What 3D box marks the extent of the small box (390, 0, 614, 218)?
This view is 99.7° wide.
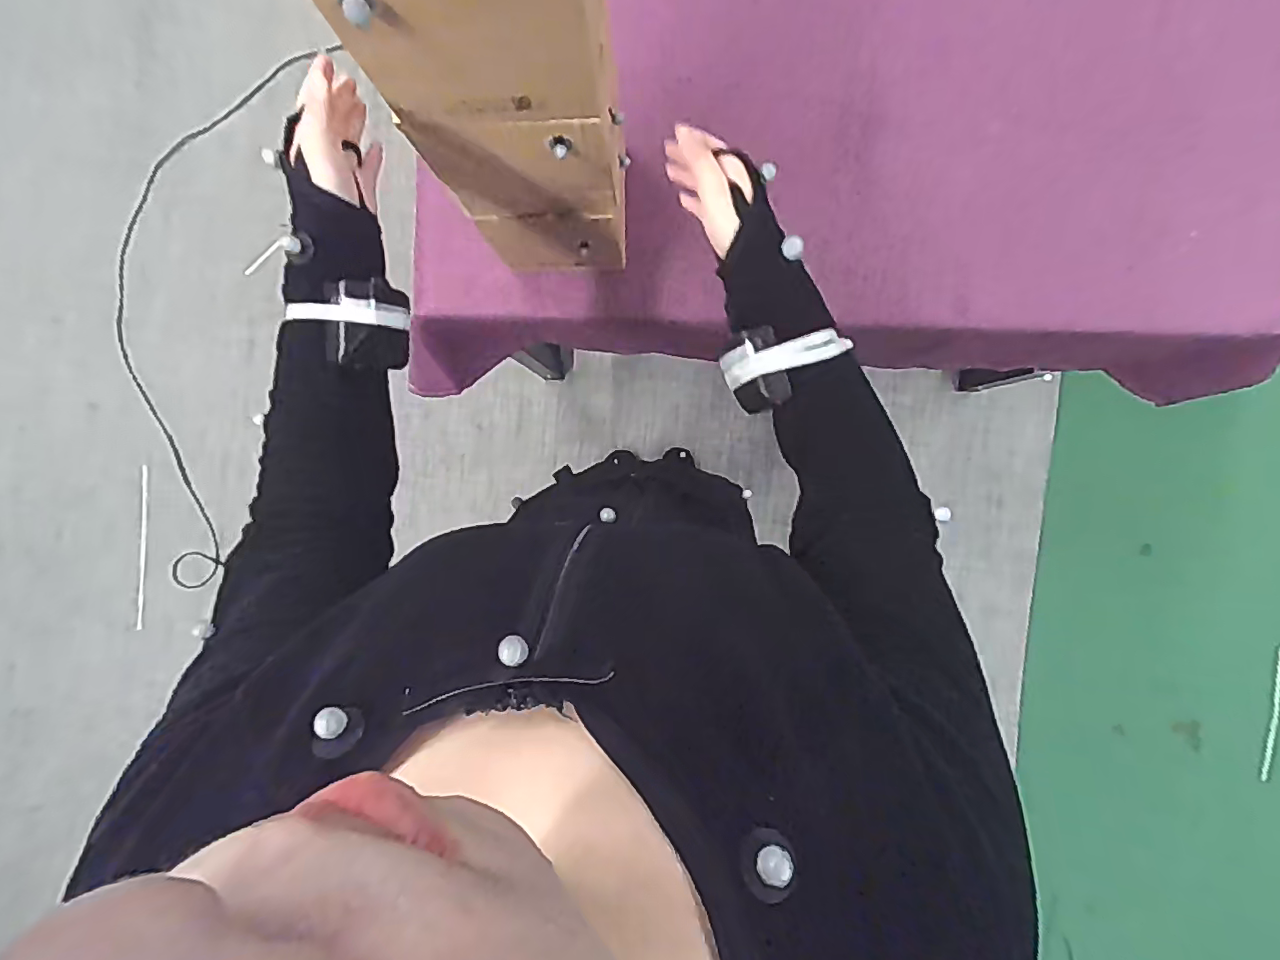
[{"bbox_3d":[-0.118,-0.373,0.526,0.179,0.176,0.168,-1,91,0],"label":"small box"}]

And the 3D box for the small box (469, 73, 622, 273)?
[{"bbox_3d":[-0.109,-0.377,0.687,0.168,0.176,0.179,1,91,1],"label":"small box"}]
